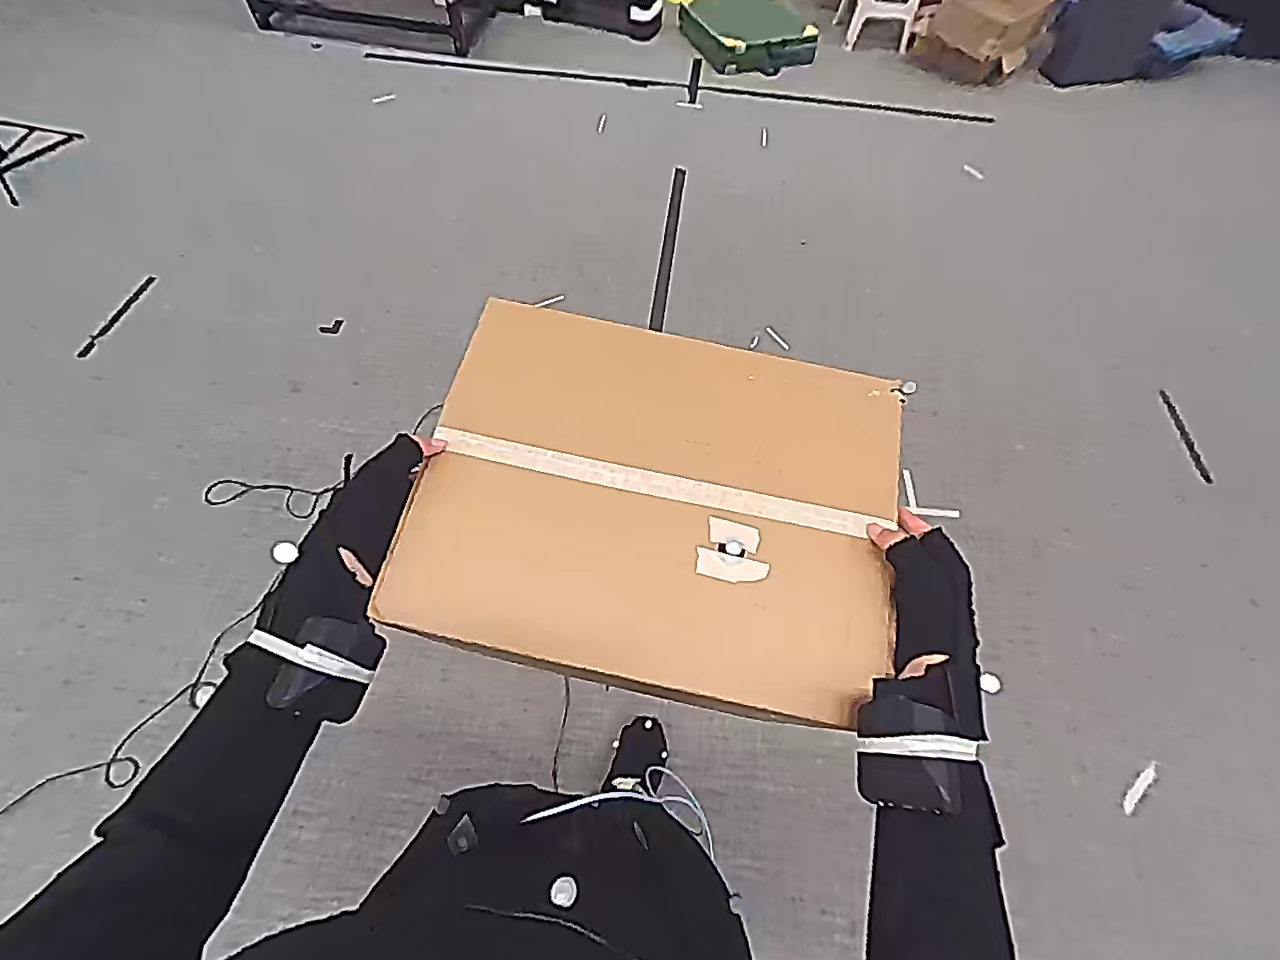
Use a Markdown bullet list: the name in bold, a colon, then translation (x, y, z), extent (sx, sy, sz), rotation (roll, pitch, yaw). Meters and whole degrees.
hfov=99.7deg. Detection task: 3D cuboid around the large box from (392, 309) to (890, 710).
- **large box**: translation (0.012, 0.059, 0.617), extent (0.408, 0.320, 0.320), rotation (12, 69, 0)
